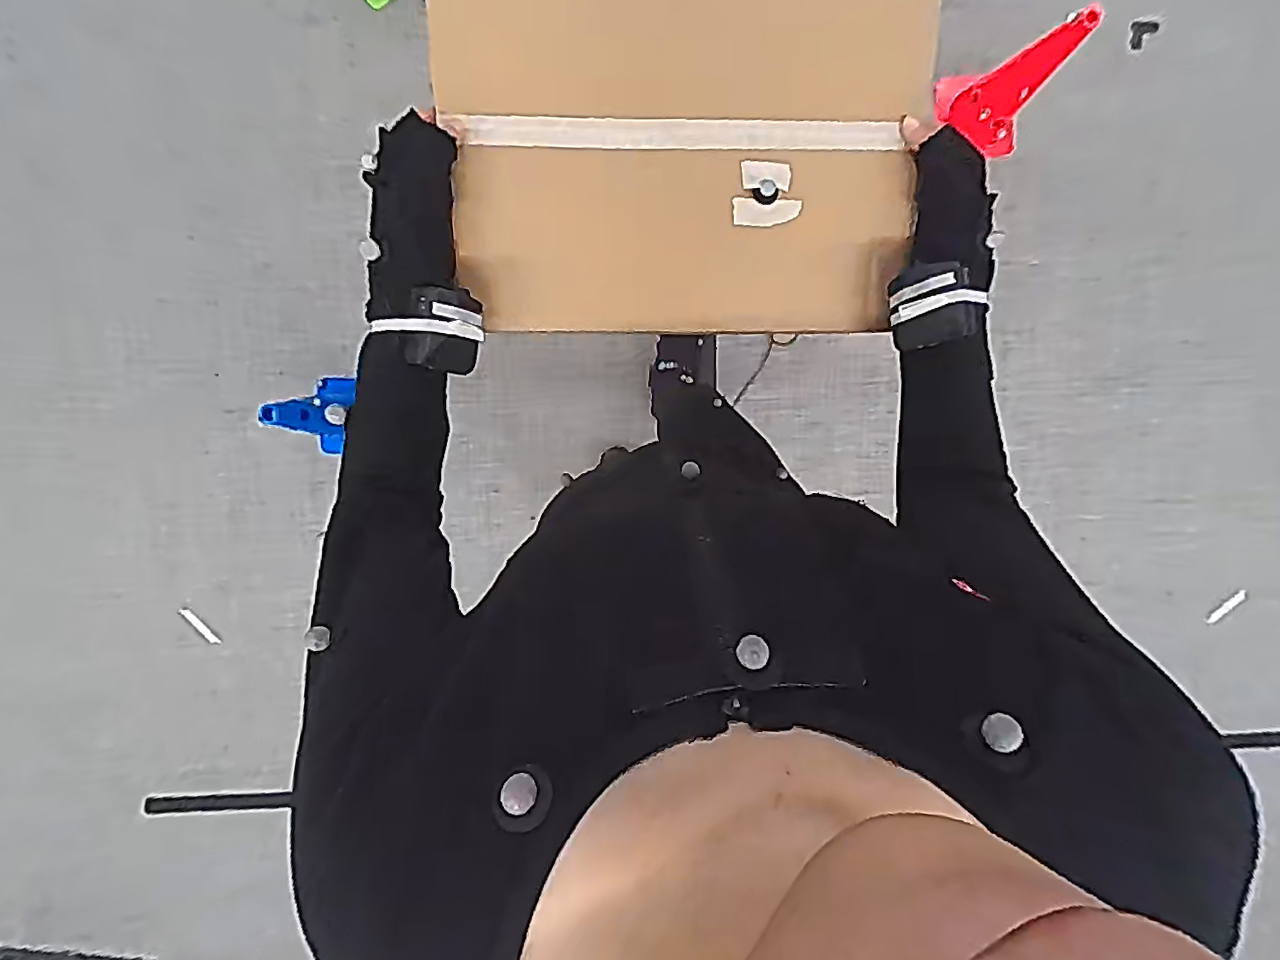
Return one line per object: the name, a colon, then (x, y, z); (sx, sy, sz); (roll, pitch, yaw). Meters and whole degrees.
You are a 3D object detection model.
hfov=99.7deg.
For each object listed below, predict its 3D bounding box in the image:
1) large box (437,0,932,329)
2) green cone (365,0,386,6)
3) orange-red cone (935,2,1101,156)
large box: (0.030, -0.333, 0.596); (0.408, 0.320, 0.320); (-1, 106, -4)
green cone: (-0.636, -1.263, 1.131); (0.202, 0.368, 0.200); (-39, 95, 4)
orange-red cone: (0.861, -0.920, 1.214); (0.198, 0.360, 0.199); (-5, 95, -2)
